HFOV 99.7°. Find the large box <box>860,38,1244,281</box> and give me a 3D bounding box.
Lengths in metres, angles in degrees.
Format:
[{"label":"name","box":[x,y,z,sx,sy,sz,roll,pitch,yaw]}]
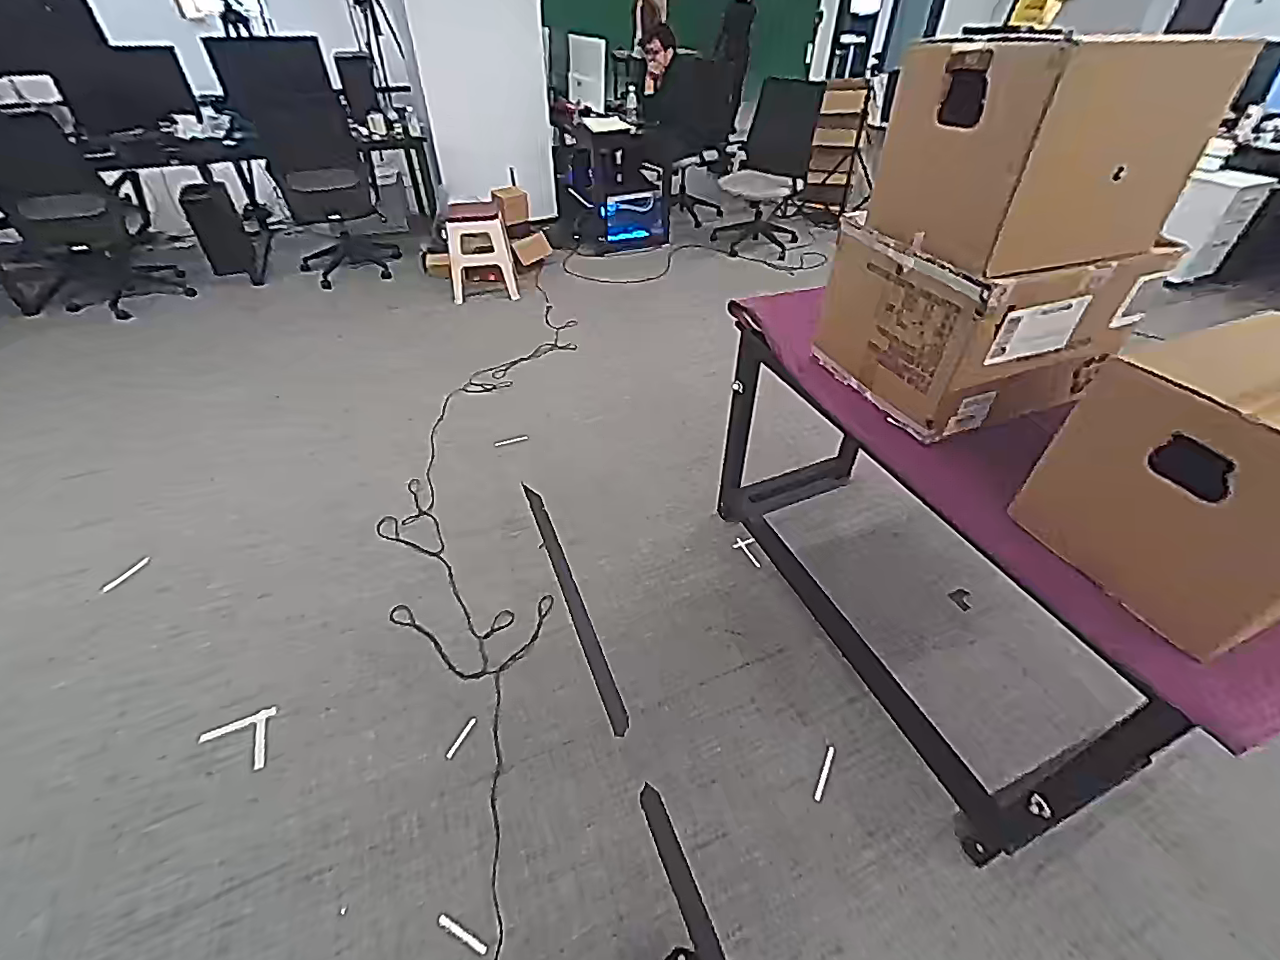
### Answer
[{"label":"large box","box":[0.684,-0.581,0.965,0.408,0.320,0.320,-15,40,-16]}]
